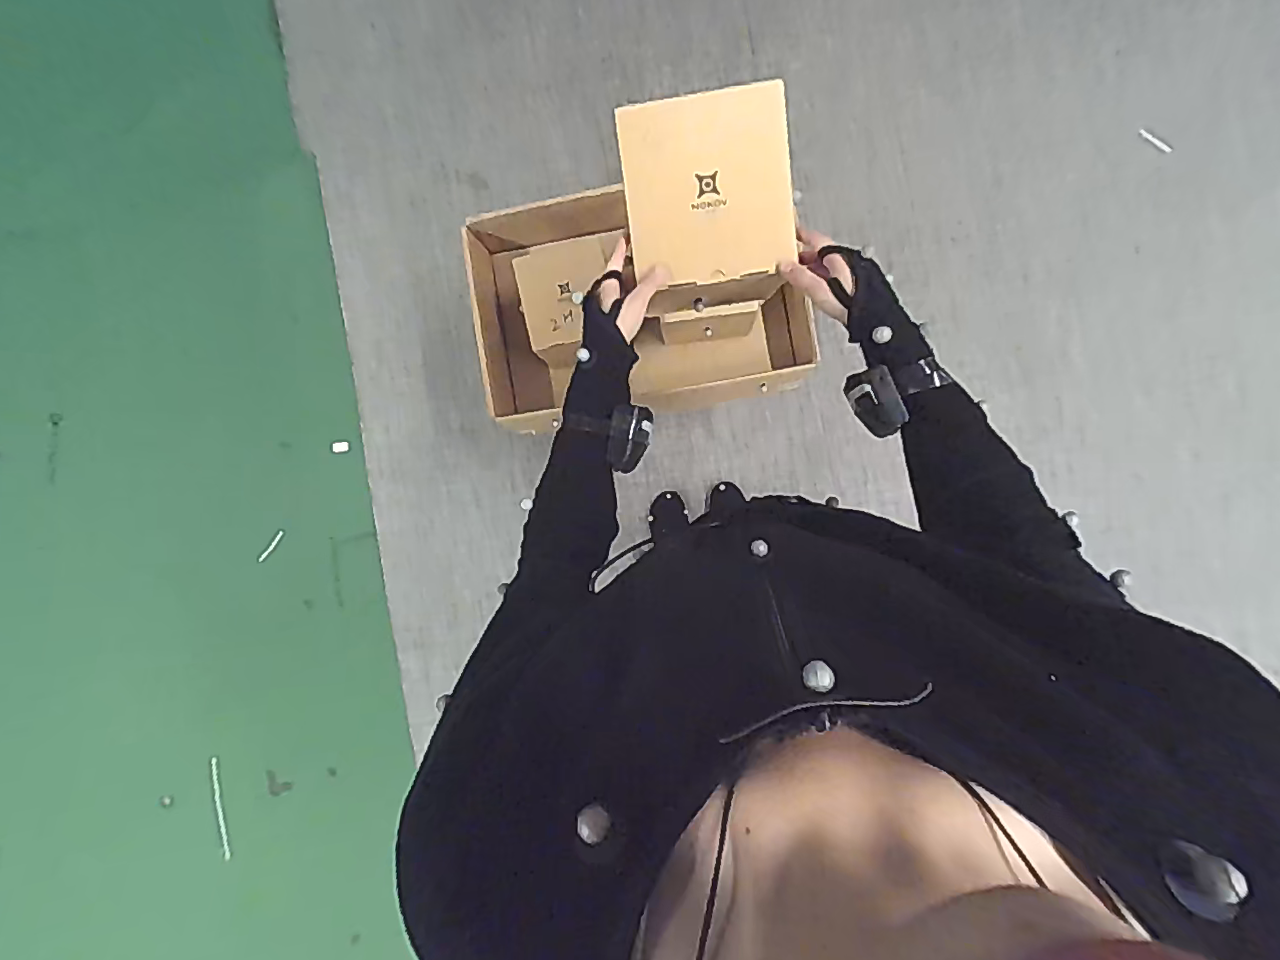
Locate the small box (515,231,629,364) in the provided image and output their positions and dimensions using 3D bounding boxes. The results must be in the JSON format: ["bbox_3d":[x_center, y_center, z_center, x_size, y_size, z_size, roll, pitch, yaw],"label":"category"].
[{"bbox_3d":[-0.124,-0.342,1.041,0.168,0.176,0.179,-13,89,5],"label":"small box"}]

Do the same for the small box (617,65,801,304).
[{"bbox_3d":[0.070,-0.306,0.598,0.168,0.176,0.179,-7,100,4],"label":"small box"}]
